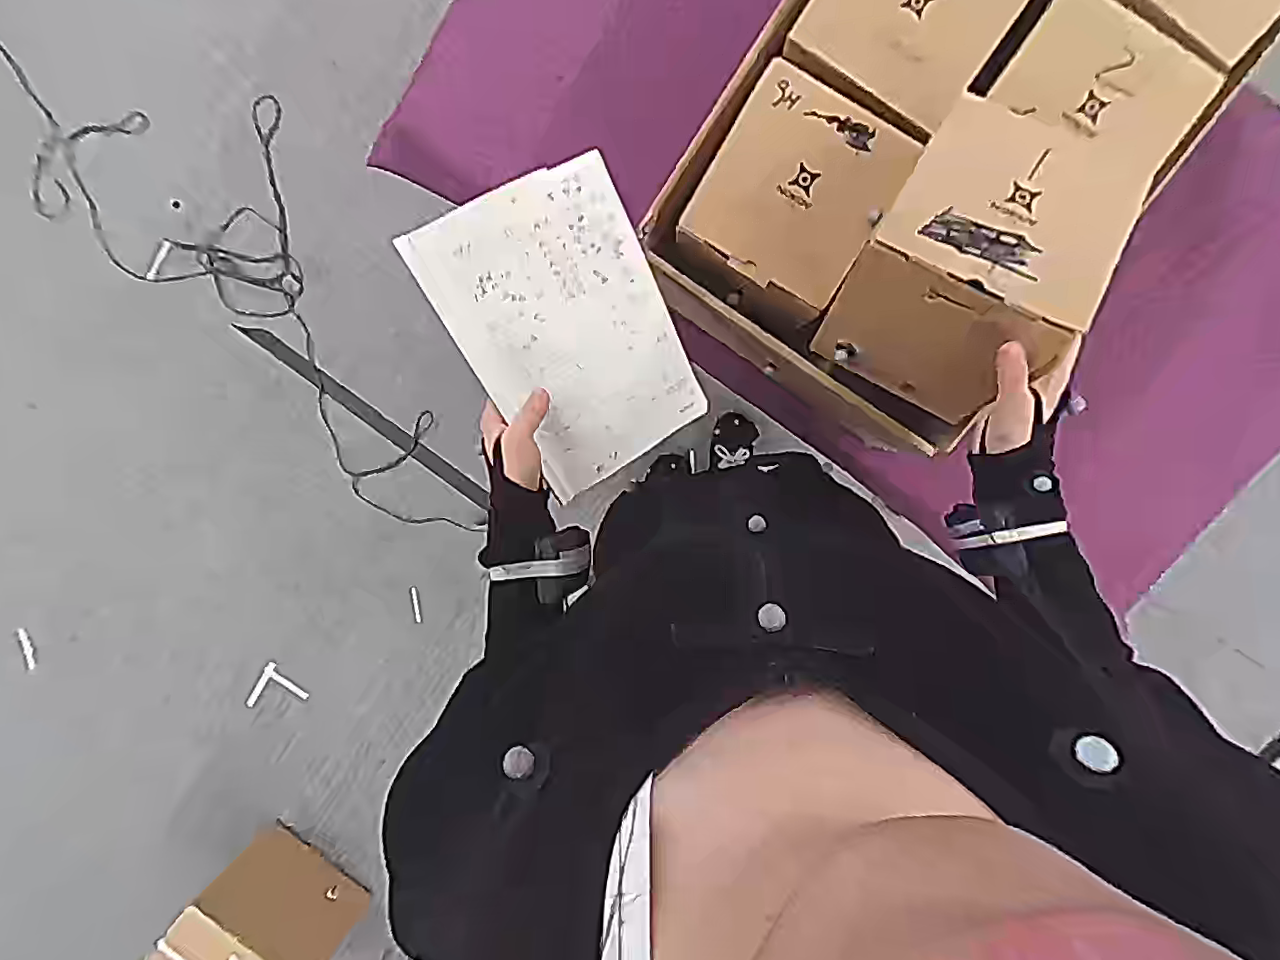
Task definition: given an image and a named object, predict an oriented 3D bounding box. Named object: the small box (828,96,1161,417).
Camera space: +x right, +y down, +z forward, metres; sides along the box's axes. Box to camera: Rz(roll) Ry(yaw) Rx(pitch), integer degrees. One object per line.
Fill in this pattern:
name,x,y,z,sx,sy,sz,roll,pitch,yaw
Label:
small box,0.294,-0.185,0.492,0.168,0.176,0.179,31,78,9
